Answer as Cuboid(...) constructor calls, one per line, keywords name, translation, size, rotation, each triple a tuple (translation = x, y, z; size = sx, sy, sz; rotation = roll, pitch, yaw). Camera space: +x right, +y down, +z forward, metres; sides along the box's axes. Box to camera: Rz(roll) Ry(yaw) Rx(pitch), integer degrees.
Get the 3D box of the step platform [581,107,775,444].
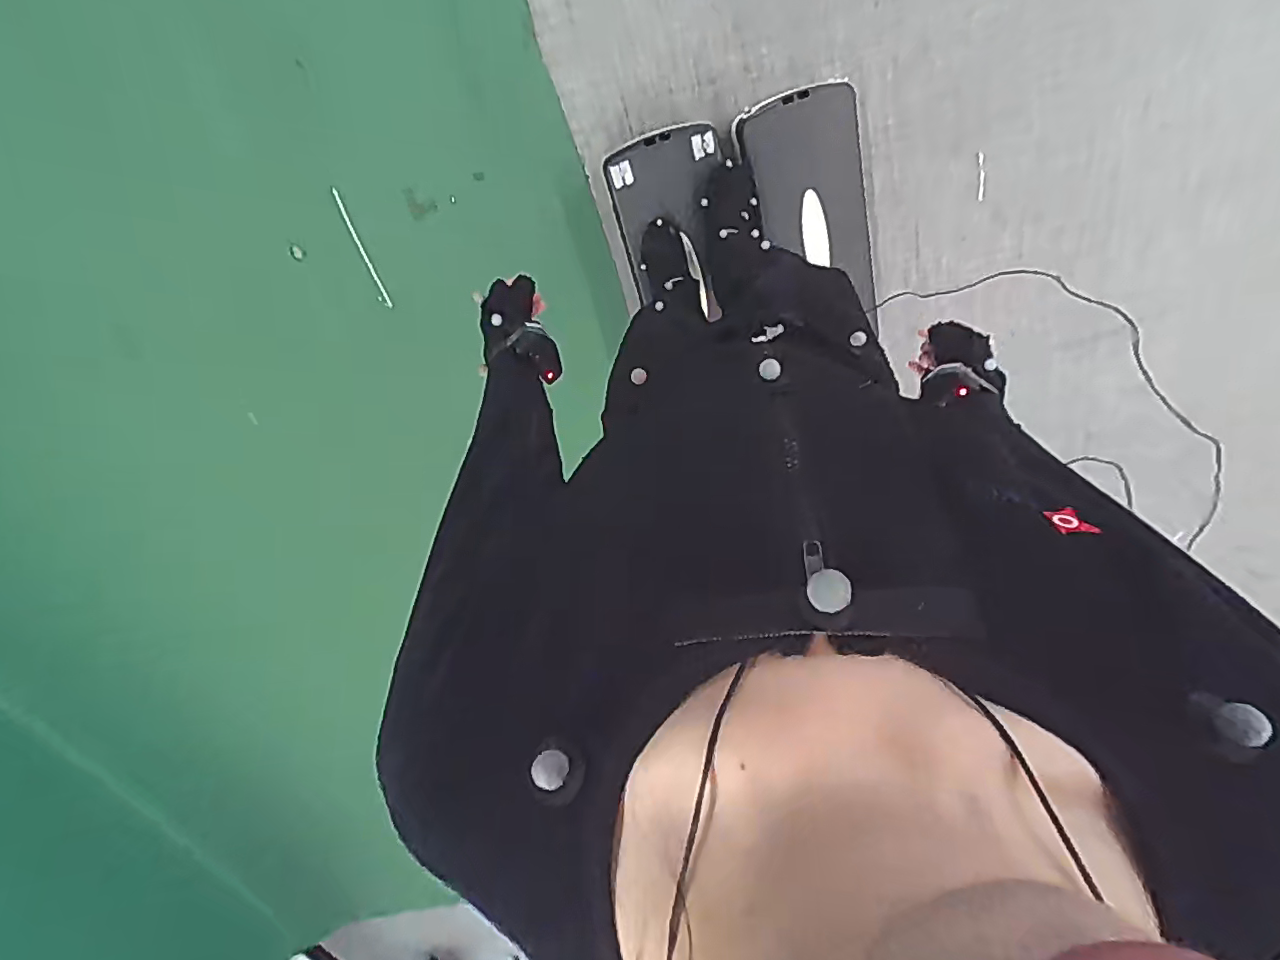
Cuboid(name="step platform", translation=(0.101, -0.437, 1.255), size=(0.286, 0.204, 0.684), rotation=(-16, 118, 7))
